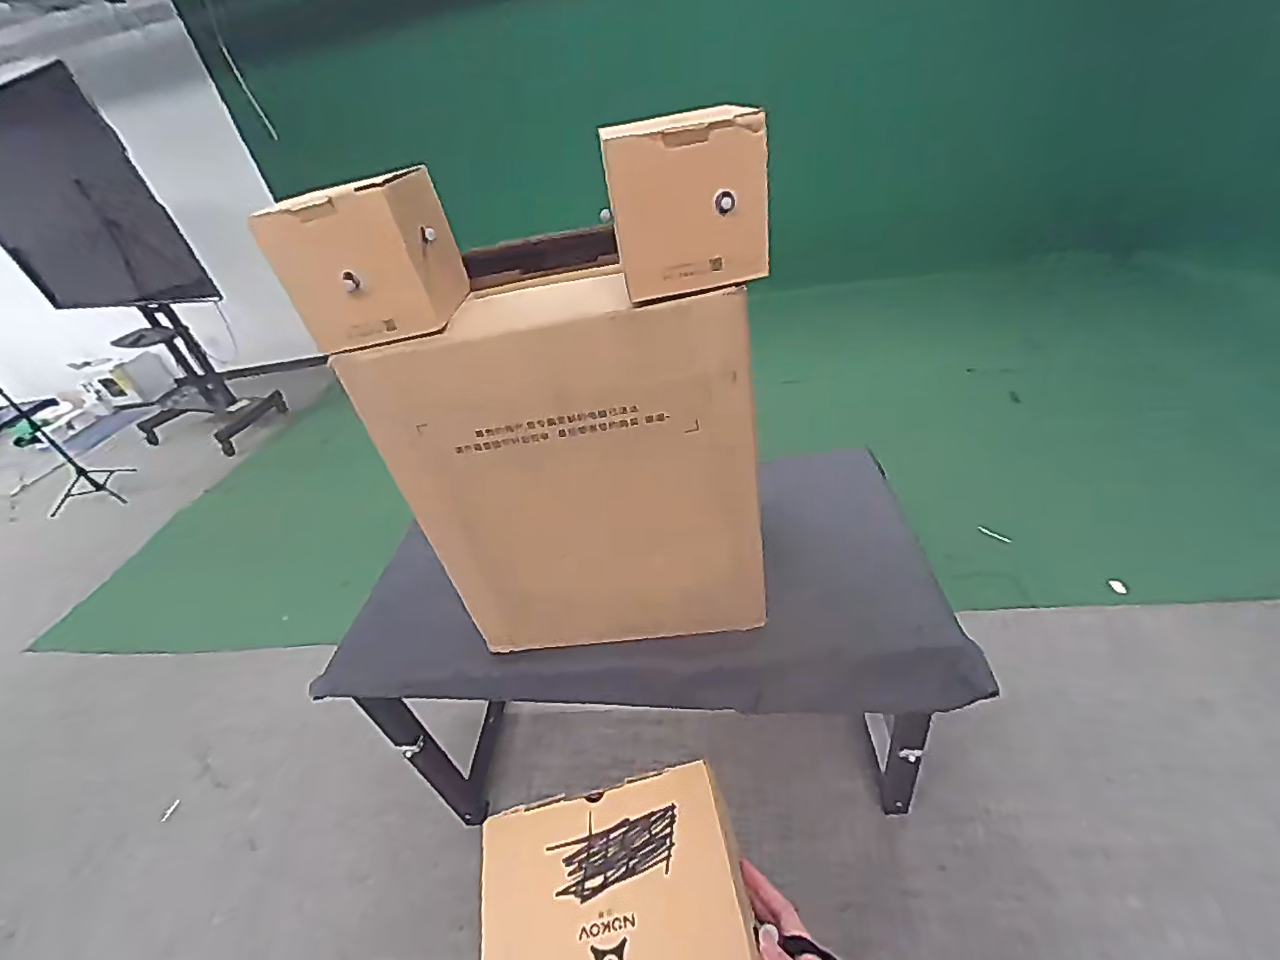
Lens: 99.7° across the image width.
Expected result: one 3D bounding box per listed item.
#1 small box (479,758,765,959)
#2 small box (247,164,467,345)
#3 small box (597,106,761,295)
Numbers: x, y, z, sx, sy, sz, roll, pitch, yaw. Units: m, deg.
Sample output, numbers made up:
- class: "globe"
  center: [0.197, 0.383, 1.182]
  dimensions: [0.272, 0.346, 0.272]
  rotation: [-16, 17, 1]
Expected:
- class: "small box"
  center: [-0.002, 0.331, 0.383]
  dimensions: [0.168, 0.176, 0.179]
  rotation: [-16, 46, 2]
- class: "small box"
  center: [-0.345, -0.288, 0.706]
  dimensions: [0.168, 0.176, 0.179]
  rotation: [-10, 37, 5]
- class: "small box"
  center: [0.046, -0.332, 0.649]
  dimensions: [0.168, 0.176, 0.179]
  rotation: [-9, 36, 0]
